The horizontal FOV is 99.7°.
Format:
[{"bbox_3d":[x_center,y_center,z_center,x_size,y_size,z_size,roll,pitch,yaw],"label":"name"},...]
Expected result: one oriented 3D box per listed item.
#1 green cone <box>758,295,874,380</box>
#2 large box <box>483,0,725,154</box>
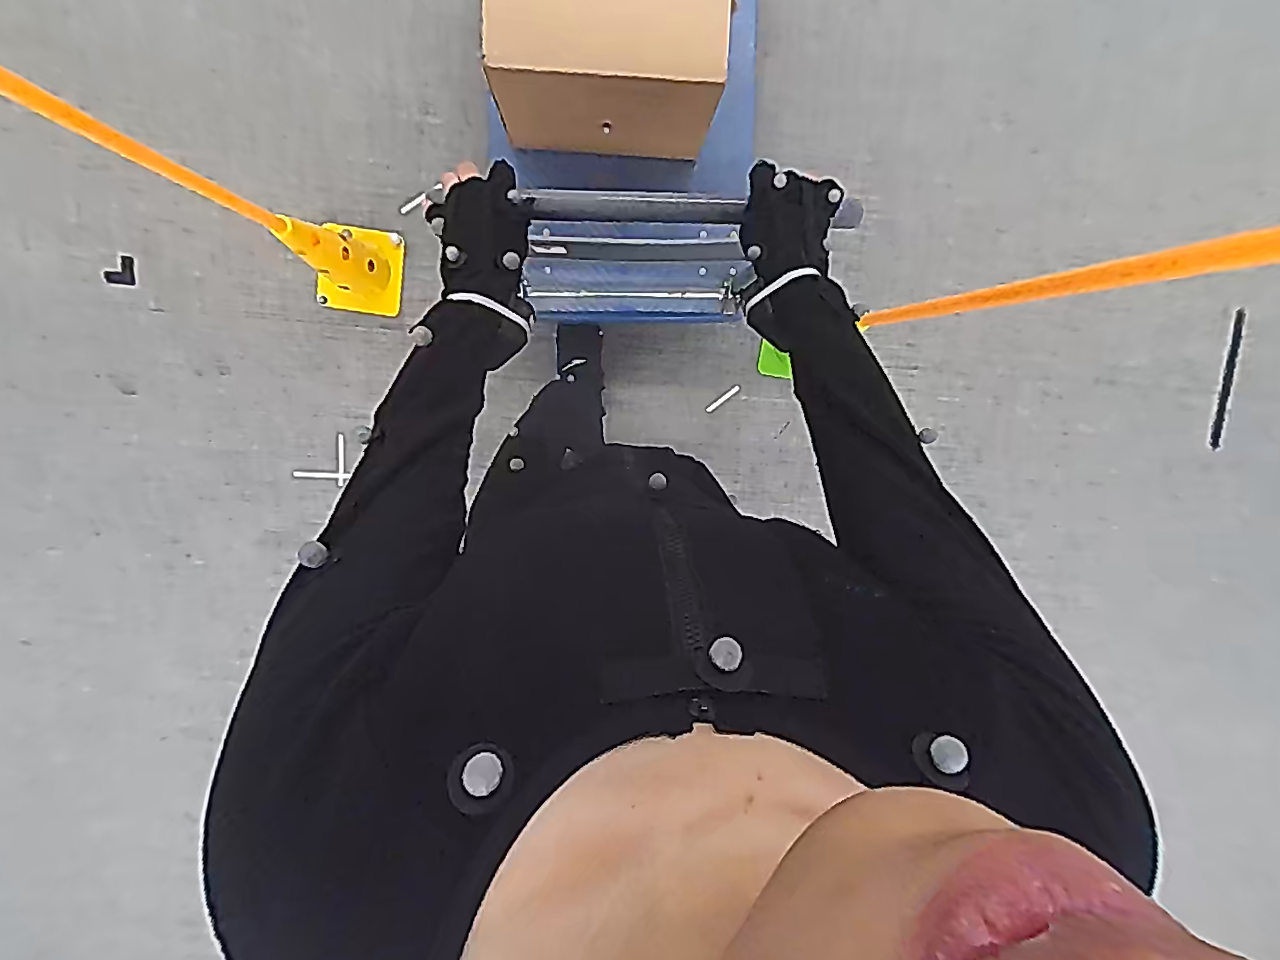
[{"bbox_3d":[0.438,-0.354,1.278,0.202,0.368,0.200,8,98,-6],"label":"green cone"},{"bbox_3d":[-0.063,-0.849,1.026,0.408,0.320,0.320,1,99,-3],"label":"large box"}]
